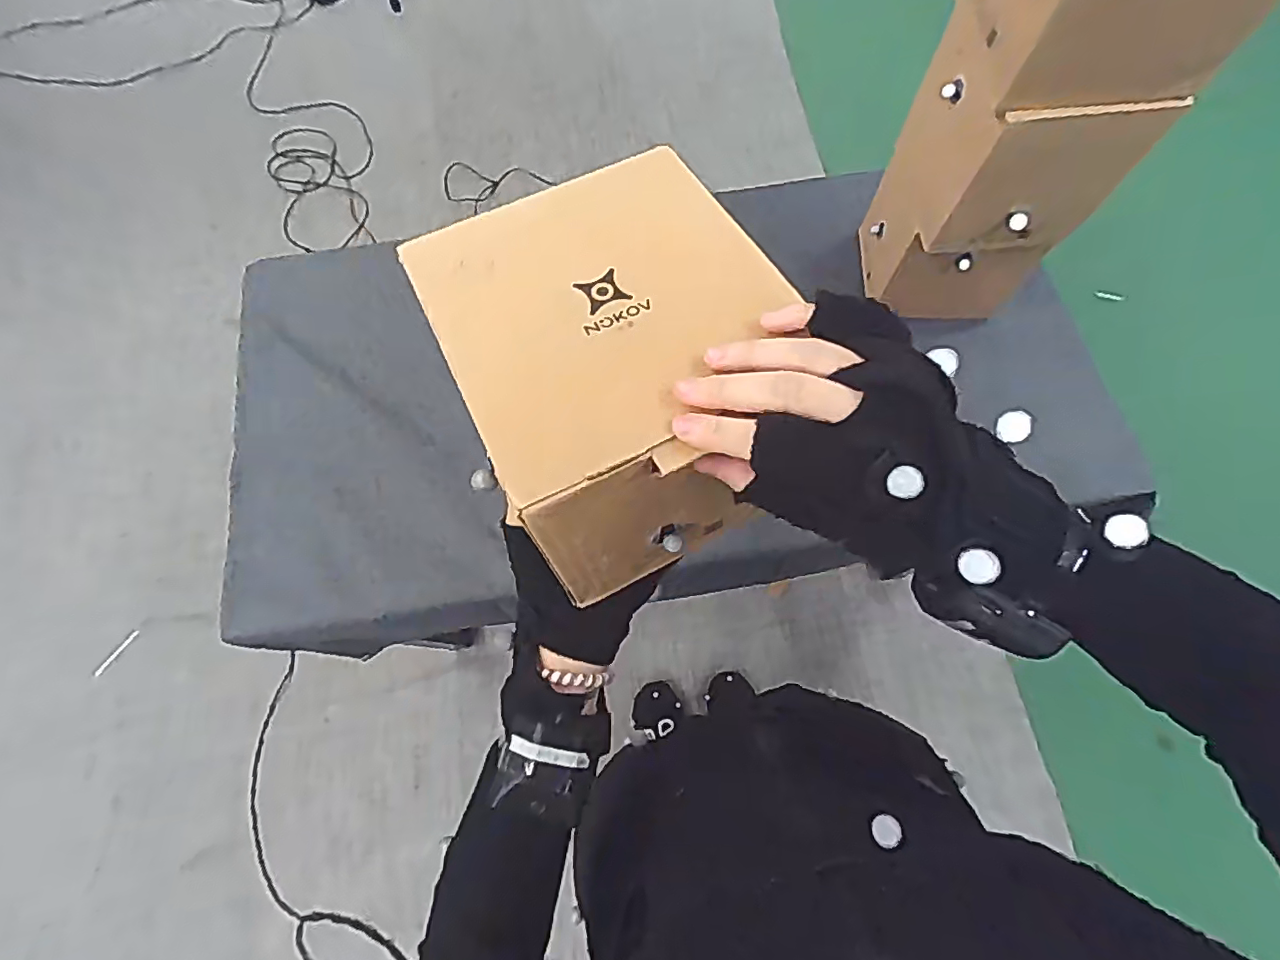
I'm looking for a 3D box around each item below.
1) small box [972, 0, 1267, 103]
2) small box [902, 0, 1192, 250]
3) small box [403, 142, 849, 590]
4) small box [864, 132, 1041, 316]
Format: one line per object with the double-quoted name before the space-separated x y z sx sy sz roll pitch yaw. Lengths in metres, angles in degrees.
"small box" 0.396 -0.436 0.431 0.179 0.176 0.168 -1 72 2
"small box" 0.408 -0.381 0.584 0.168 0.176 0.179 -4 71 2
"small box" -0.013 -0.058 0.334 0.168 0.176 0.179 -26 67 -10
"small box" 0.422 -0.344 0.744 0.179 0.176 0.168 2 71 3
